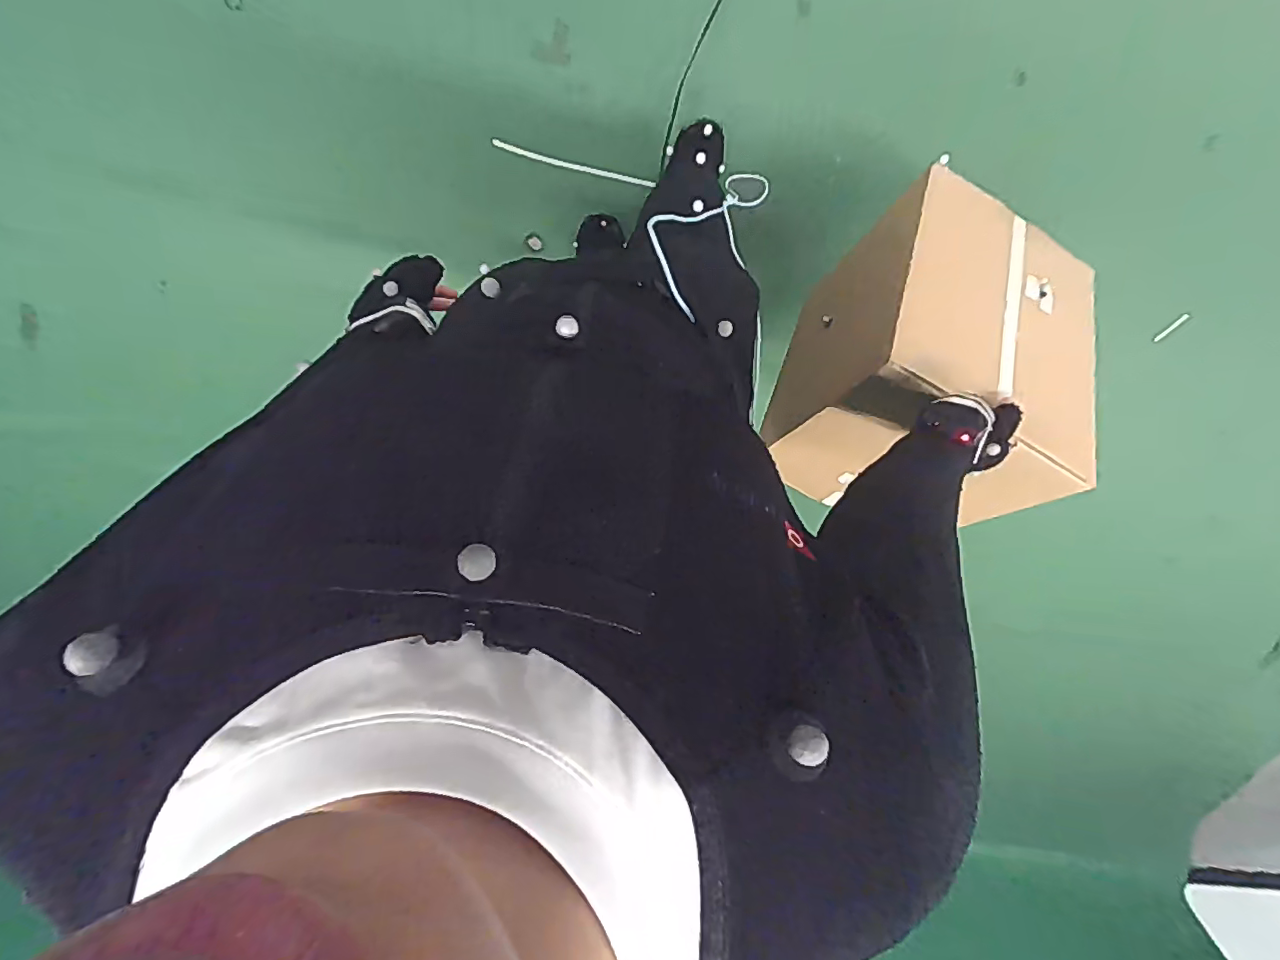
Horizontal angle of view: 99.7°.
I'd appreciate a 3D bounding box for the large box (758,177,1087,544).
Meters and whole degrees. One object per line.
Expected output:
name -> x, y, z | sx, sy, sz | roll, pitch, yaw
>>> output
large box -> 0.435, -0.166, 0.861 | 0.320, 0.408, 0.320 | 29, 152, -9
